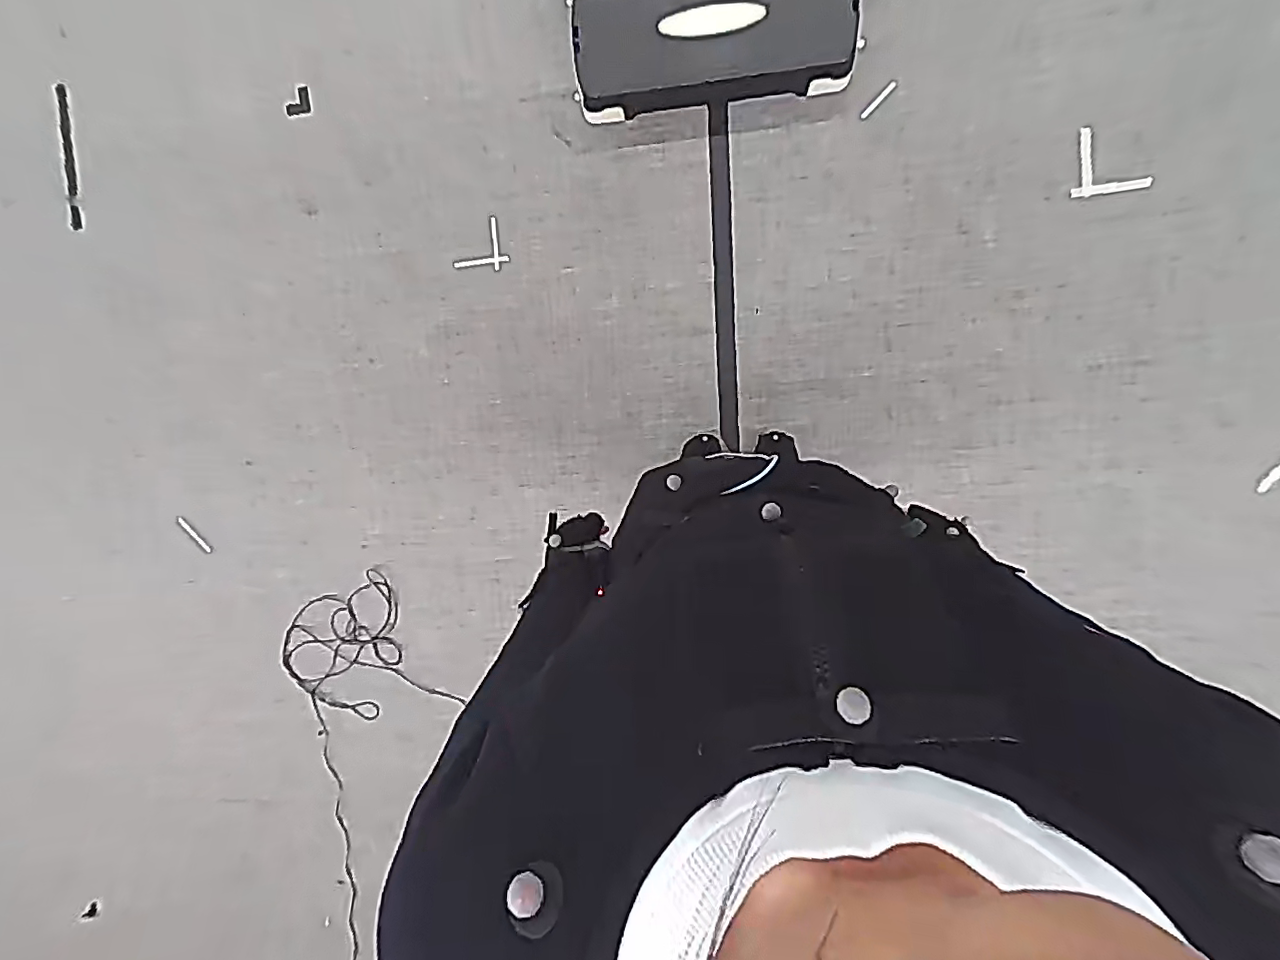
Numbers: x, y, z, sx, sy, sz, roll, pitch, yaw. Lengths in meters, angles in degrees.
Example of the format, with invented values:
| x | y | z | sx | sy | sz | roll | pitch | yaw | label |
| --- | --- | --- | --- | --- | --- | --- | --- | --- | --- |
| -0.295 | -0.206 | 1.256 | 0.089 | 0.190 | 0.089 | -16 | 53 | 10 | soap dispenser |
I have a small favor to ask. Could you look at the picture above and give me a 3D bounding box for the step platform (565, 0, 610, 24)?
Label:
| x | y | z | sx | sy | sz | roll | pitch | yaw | label |
| --- | --- | --- | --- | --- | --- | --- | --- | --- | --- |
| 0.124 | -1.320 | 1.246 | 0.684 | 0.204 | 0.286 | -5 | 95 | 6 | step platform |
